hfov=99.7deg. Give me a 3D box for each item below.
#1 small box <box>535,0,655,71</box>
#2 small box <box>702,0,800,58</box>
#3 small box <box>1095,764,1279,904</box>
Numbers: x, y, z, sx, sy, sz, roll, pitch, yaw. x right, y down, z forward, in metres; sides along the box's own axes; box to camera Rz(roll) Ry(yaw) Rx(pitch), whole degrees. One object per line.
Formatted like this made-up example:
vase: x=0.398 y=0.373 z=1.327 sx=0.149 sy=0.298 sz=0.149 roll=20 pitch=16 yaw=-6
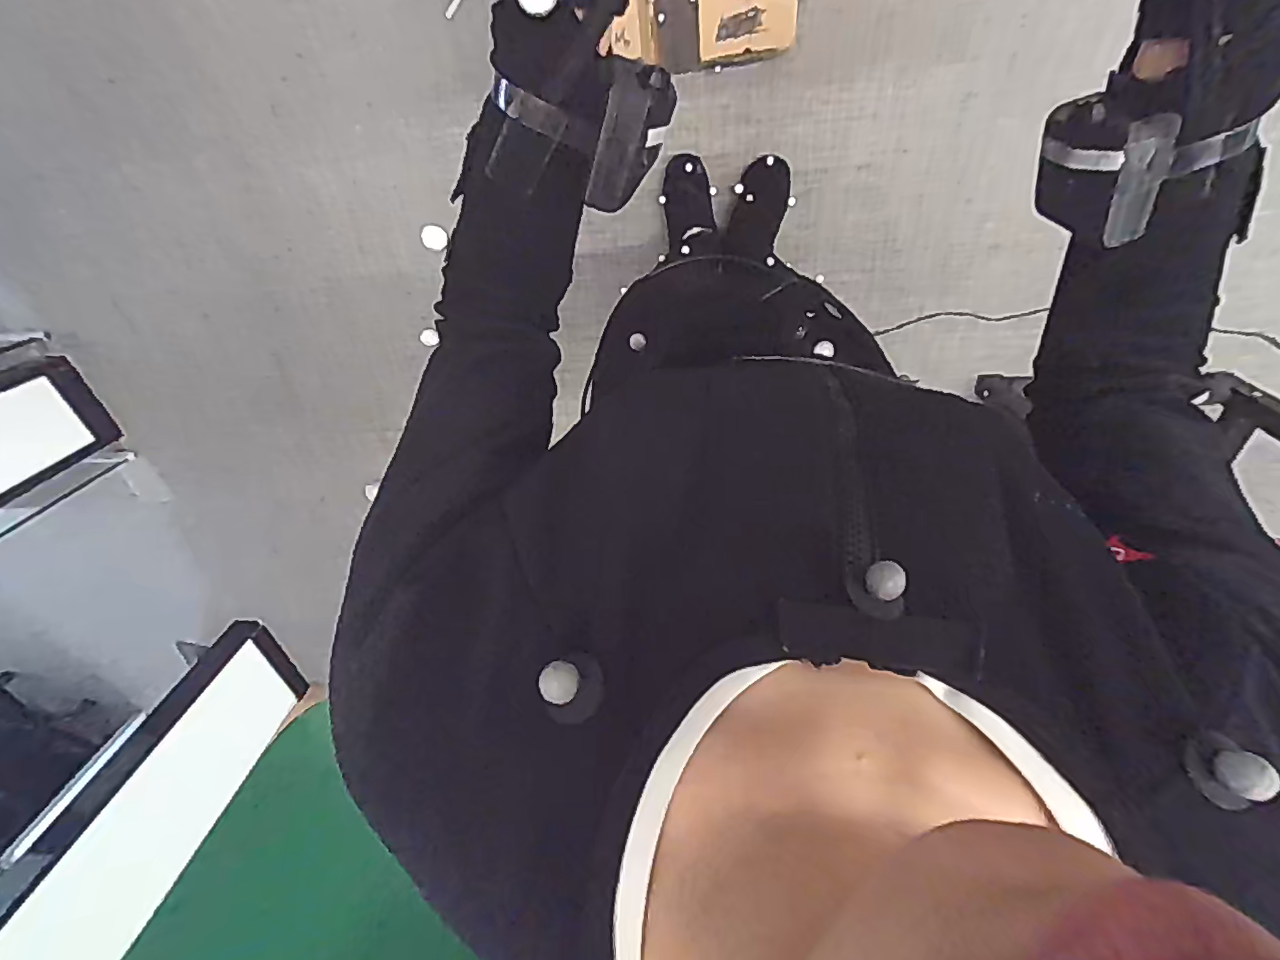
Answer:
small box: x=-0.069 y=-0.773 z=0.860 sx=0.168 sy=0.176 sz=0.179 roll=0 pitch=124 yaw=9
small box: x=0.193 y=-0.866 z=0.957 sx=0.168 sy=0.176 sz=0.179 roll=-1 pitch=124 yaw=8
small box: x=1.035 y=0.666 z=1.026 sx=0.179 sy=0.176 sz=0.168 roll=4 pitch=125 yaw=5
